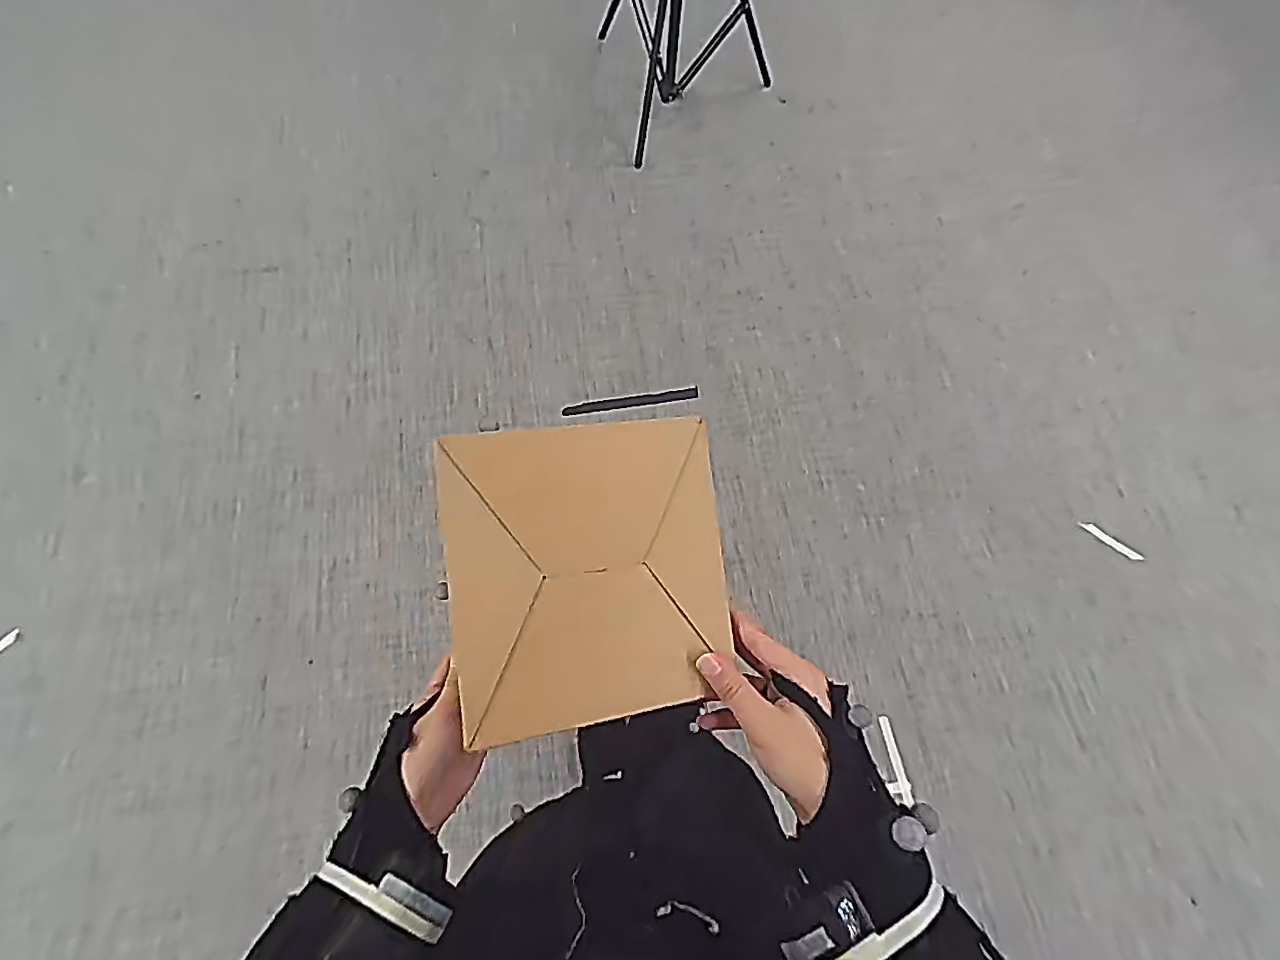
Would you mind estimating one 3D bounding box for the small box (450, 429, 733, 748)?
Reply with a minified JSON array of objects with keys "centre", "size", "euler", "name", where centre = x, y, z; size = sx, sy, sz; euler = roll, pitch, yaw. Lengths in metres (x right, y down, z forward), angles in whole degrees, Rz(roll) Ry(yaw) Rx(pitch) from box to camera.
[{"centre":[-0.046,0.062,0.400],"size":[0.168,0.176,0.179],"euler":[-6,87,-17],"name":"small box"}]
